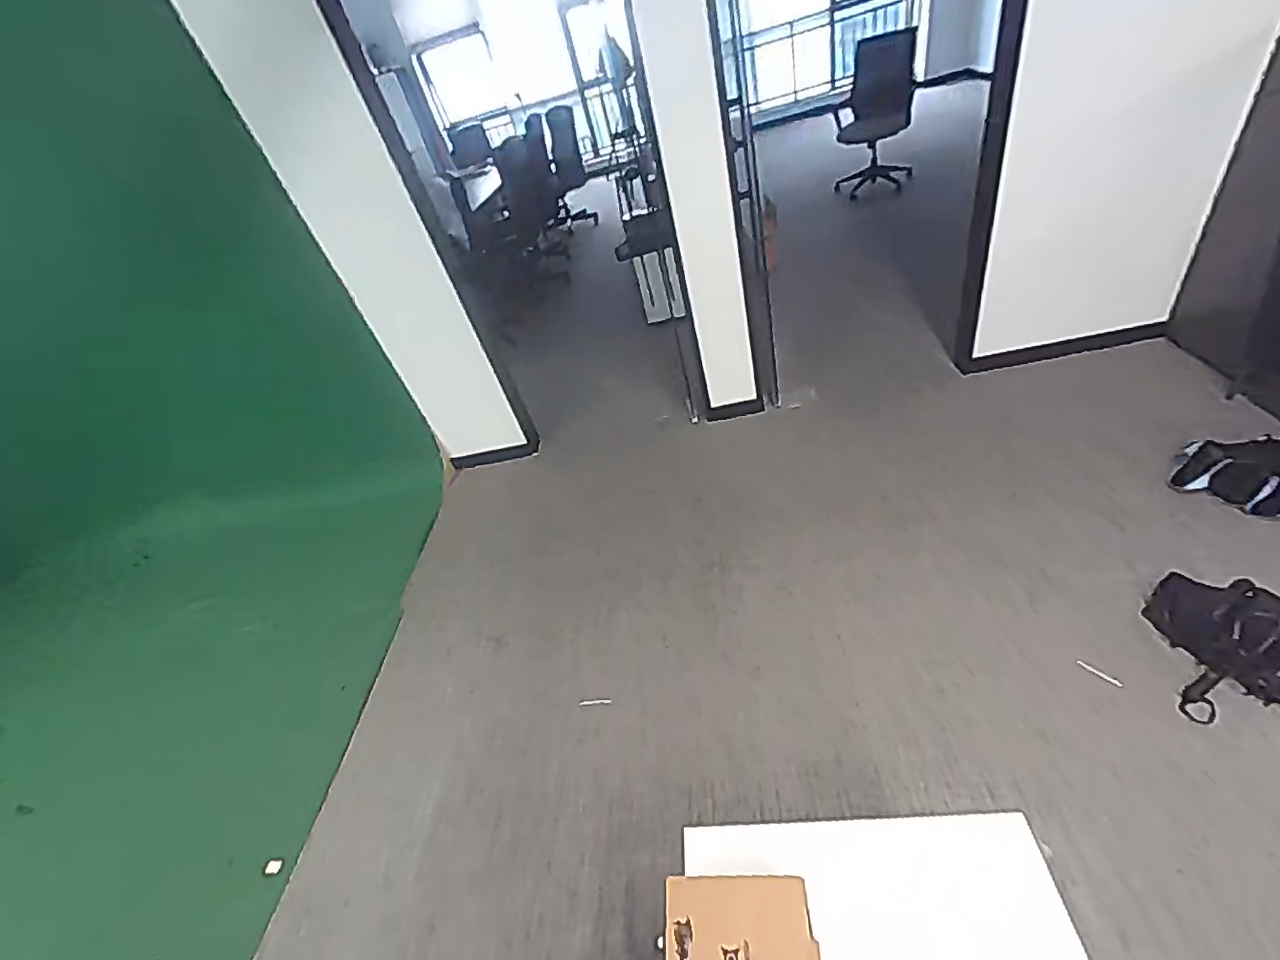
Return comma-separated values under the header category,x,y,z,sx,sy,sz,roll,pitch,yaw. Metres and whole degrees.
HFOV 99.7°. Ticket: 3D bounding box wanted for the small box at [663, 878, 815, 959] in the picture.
category,x,y,z,sx,sy,sz,roll,pitch,yaw
small box,0.127,0.615,0.668,0.179,0.176,0.168,-7,40,10
